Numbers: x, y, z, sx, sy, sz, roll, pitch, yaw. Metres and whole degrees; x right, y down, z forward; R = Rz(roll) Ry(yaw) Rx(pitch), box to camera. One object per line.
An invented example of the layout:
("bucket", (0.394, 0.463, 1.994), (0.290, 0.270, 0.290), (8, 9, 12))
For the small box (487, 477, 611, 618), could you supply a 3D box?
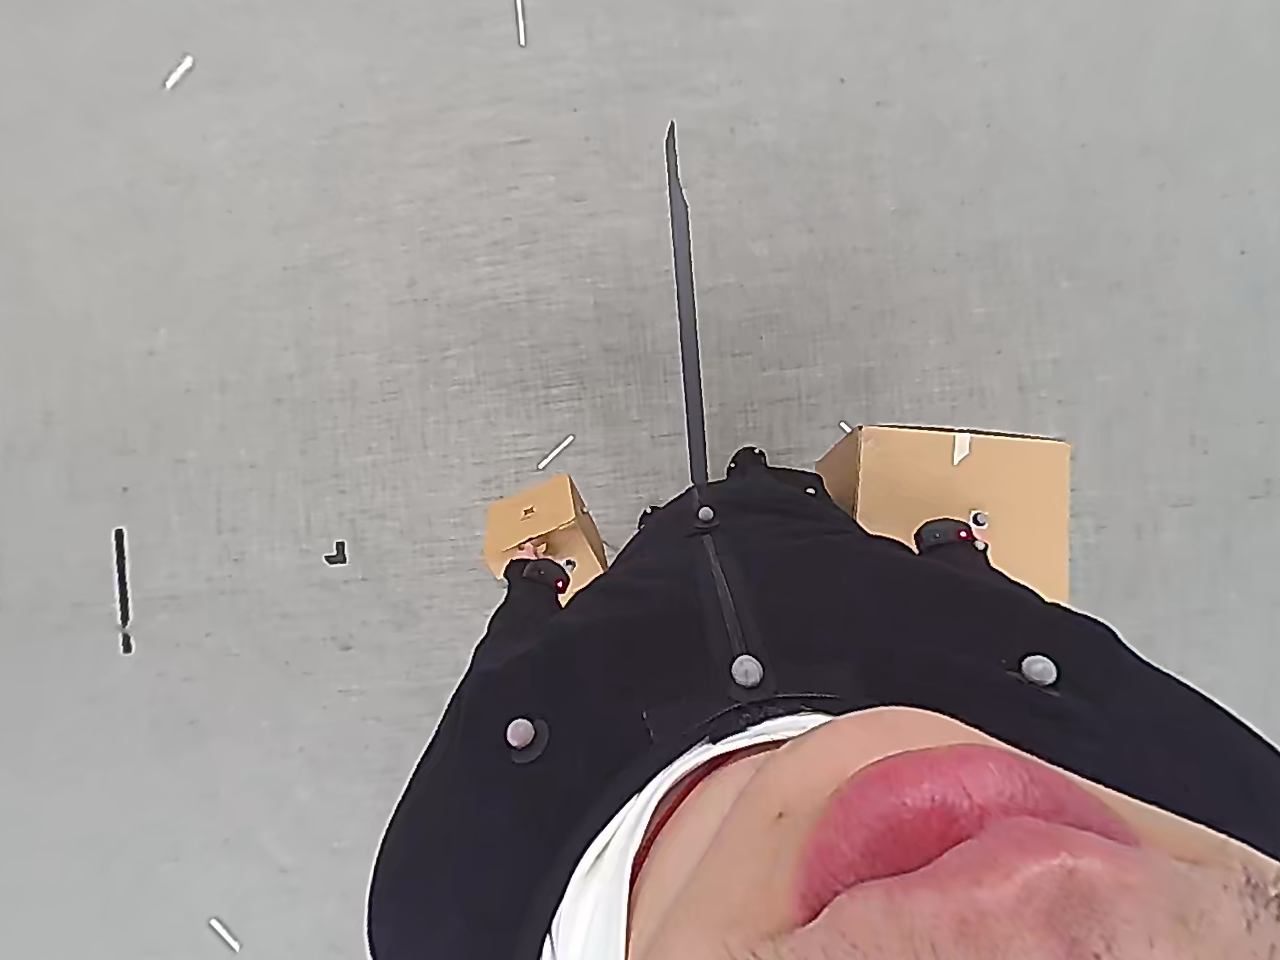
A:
("small box", (-0.163, 0.128, 0.993), (0.168, 0.179, 0.176), (-23, 118, 0))
